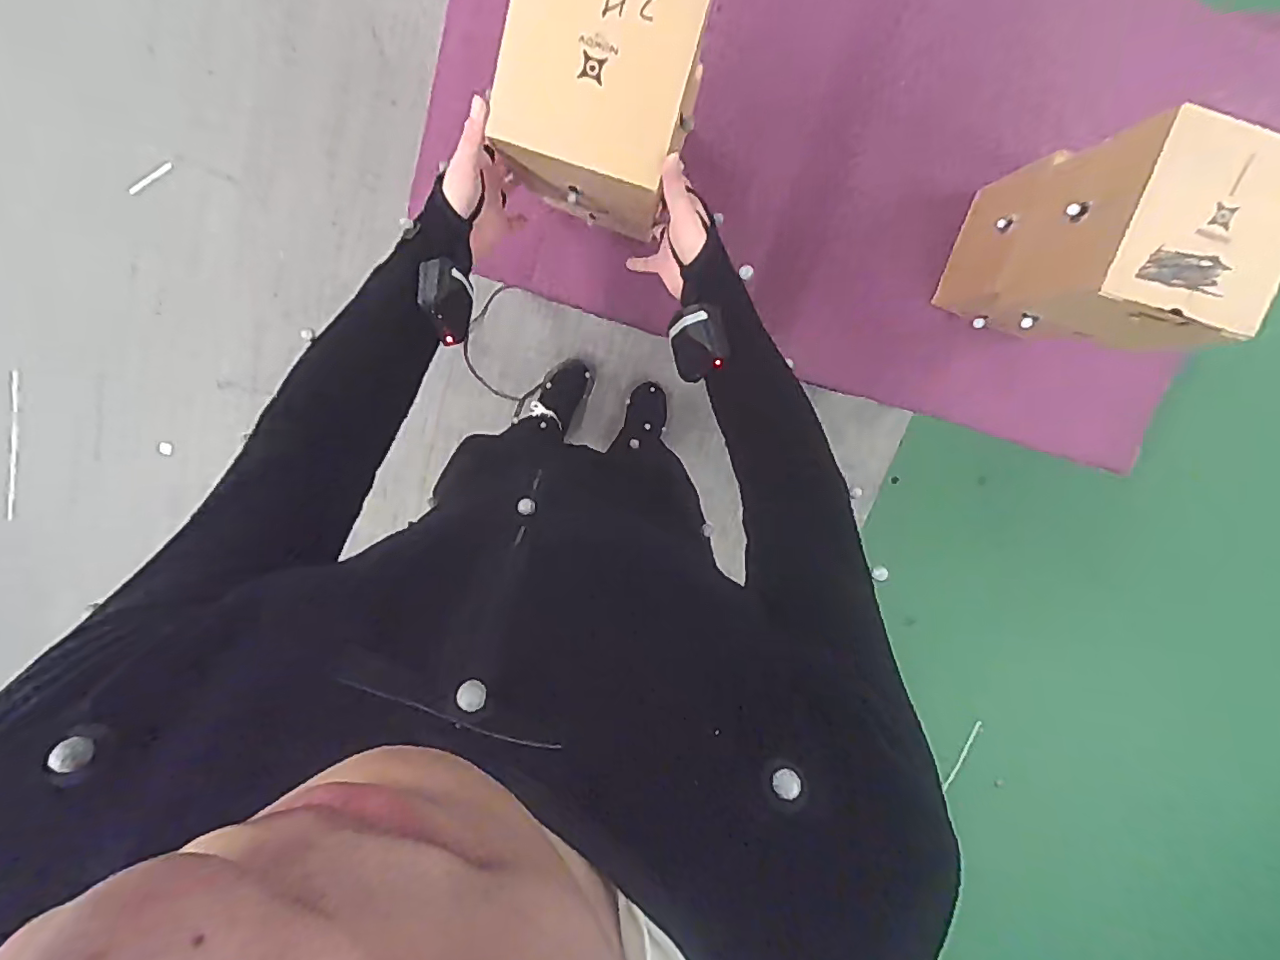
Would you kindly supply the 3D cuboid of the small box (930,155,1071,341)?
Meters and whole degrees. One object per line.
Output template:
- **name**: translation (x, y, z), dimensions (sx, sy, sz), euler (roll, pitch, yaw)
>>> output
- **small box**: translation (0.544, -0.305, 0.751), dimensions (0.168, 0.176, 0.179), euler (18, 102, -3)

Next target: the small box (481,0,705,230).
- **small box**: translation (-0.044, -0.382, 0.558), dimensions (0.168, 0.176, 0.179), euler (16, 102, -4)

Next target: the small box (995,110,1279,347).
- **small box**: translation (0.537, -0.253, 0.595), dimensions (0.168, 0.176, 0.179), euler (16, 100, -3)
